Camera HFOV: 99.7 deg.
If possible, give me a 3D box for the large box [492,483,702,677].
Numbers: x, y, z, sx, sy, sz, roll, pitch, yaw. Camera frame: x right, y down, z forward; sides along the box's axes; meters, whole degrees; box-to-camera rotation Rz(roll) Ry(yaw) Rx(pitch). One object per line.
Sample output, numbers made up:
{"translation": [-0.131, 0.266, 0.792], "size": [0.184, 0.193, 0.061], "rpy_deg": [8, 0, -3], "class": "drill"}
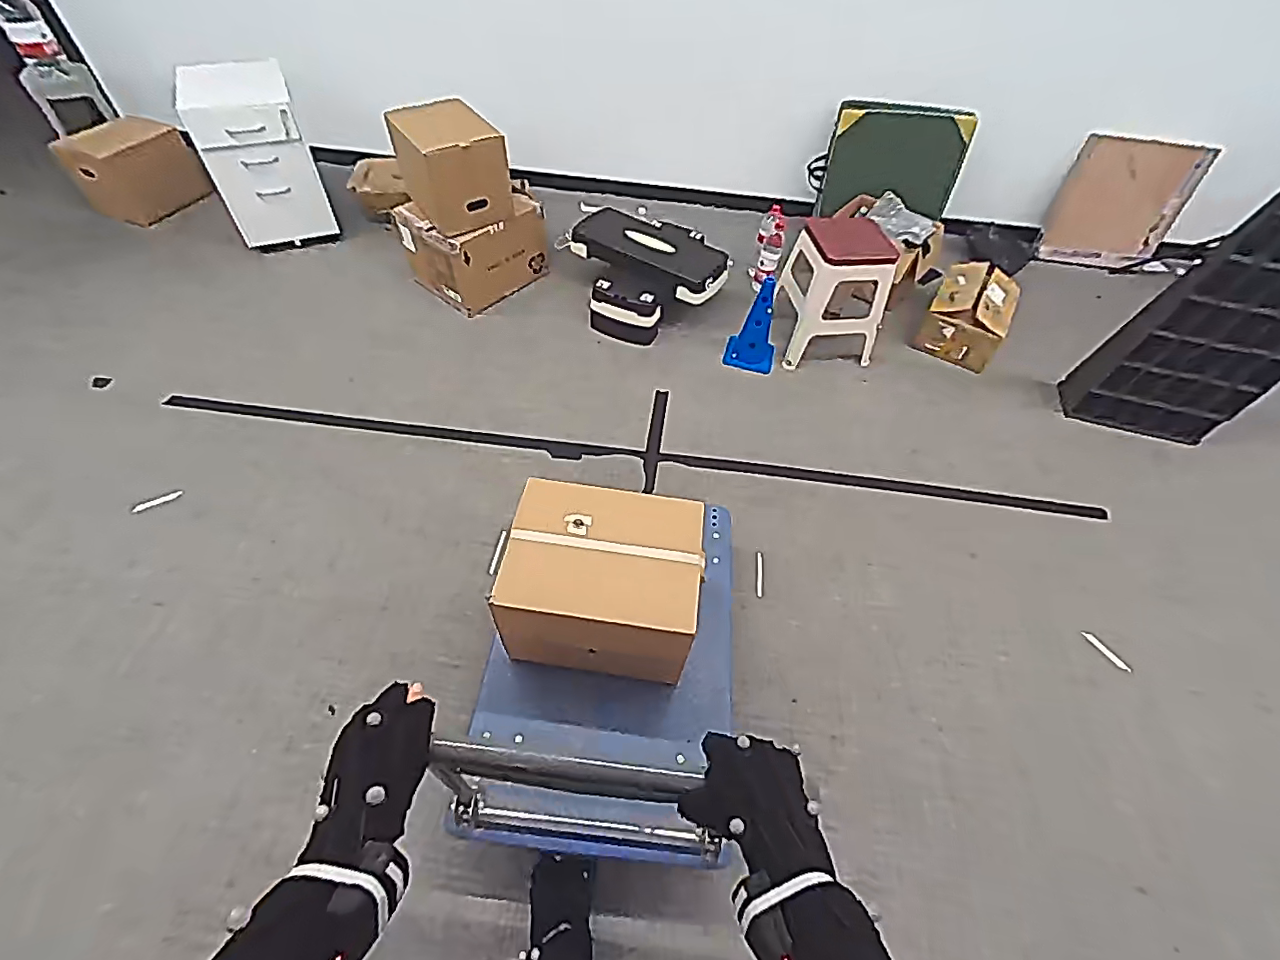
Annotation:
{"translation": [-0.079, 0.238, 1.252], "size": [0.408, 0.320, 0.320], "rpy_deg": [8, 52, 3], "class": "large box"}
